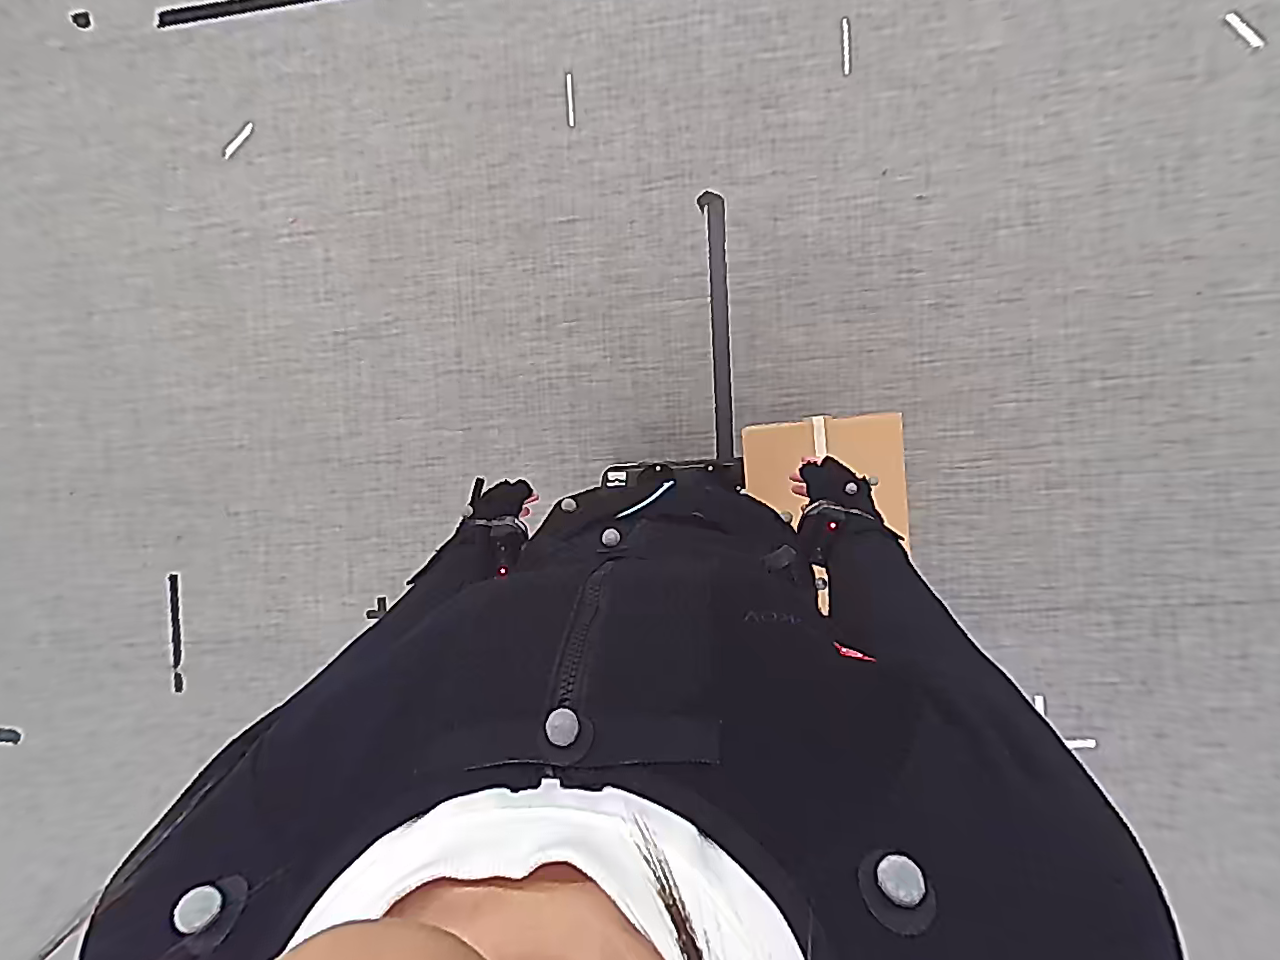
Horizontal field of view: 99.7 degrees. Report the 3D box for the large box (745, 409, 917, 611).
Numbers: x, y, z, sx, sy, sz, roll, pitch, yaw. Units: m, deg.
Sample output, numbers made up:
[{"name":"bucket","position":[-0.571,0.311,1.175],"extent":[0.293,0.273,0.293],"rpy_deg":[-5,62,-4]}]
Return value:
[{"name":"large box","position":[0.419,0.058,1.252],"extent":[0.320,0.320,0.408],"rpy_deg":[-4,93,13]}]
